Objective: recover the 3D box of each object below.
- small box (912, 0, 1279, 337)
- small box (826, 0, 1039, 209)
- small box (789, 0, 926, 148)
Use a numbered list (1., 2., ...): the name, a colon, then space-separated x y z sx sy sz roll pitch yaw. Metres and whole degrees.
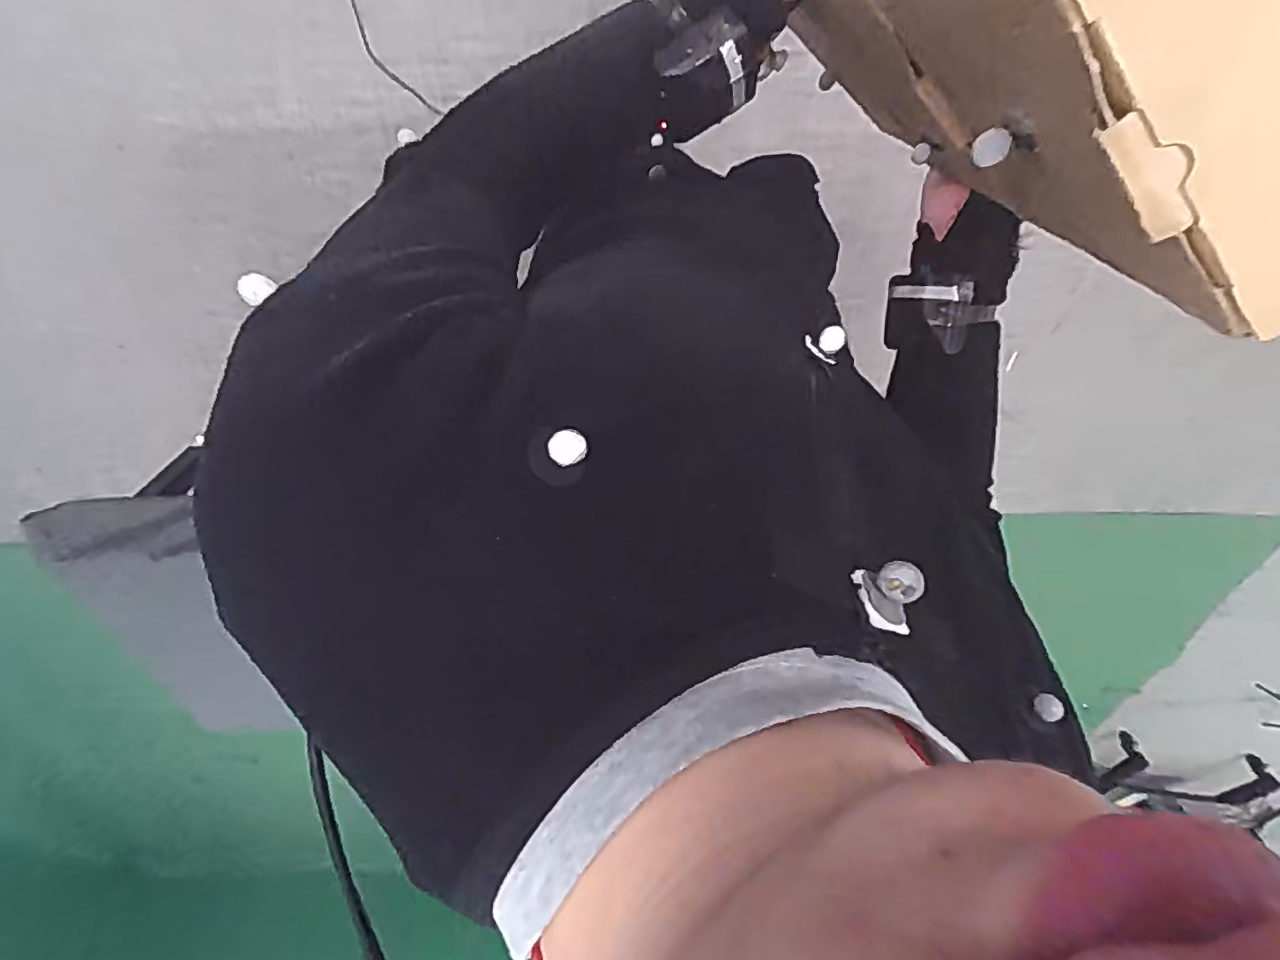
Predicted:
1. small box: 0.215 -0.189 0.173 0.168 0.176 0.179 35 125 -23
2. small box: 0.224 -0.294 0.298 0.168 0.176 0.179 34 124 -22
3. small box: 0.238 -0.400 0.420 0.168 0.176 0.179 33 126 -20
